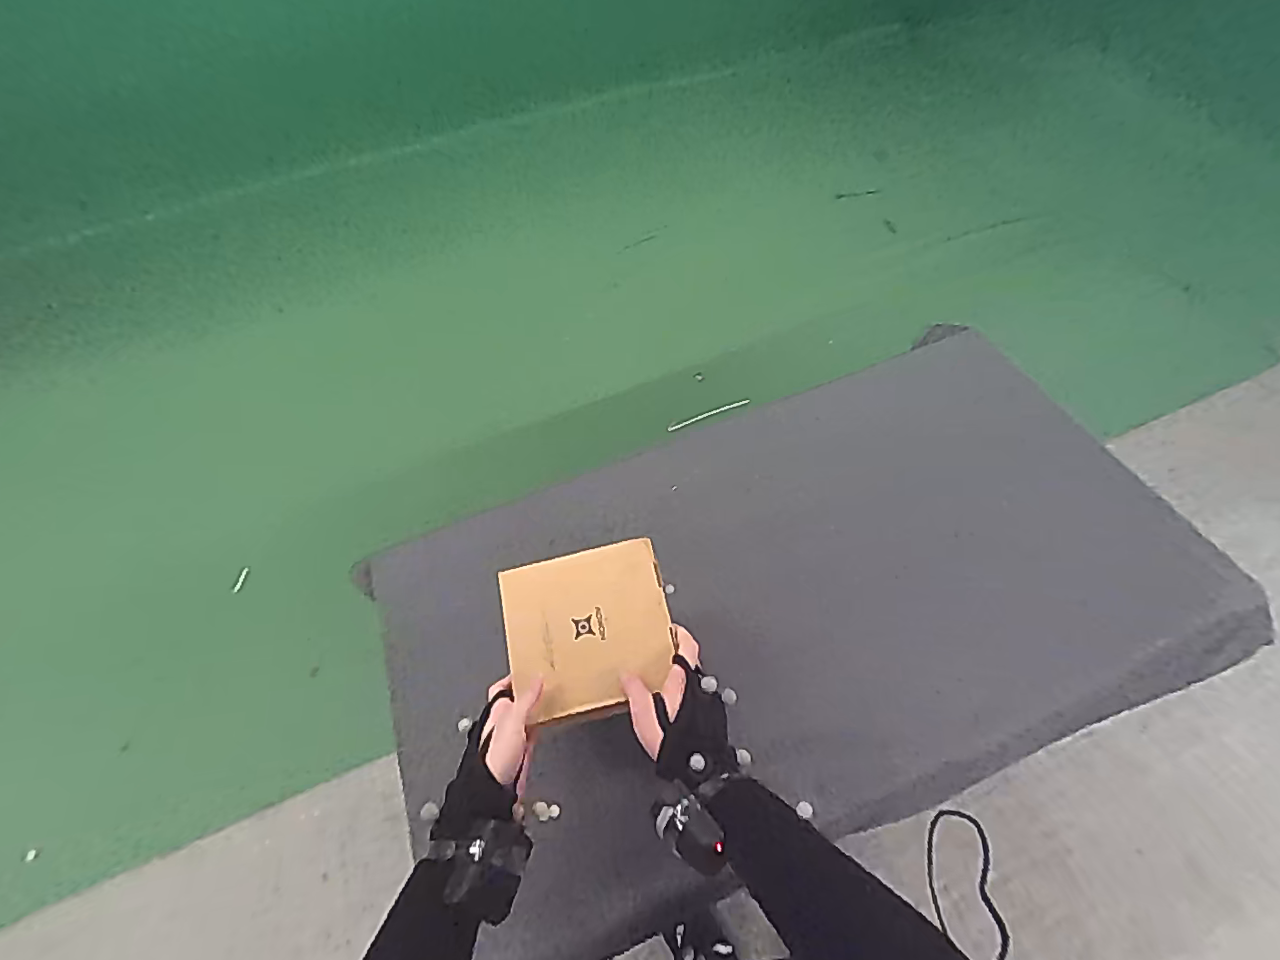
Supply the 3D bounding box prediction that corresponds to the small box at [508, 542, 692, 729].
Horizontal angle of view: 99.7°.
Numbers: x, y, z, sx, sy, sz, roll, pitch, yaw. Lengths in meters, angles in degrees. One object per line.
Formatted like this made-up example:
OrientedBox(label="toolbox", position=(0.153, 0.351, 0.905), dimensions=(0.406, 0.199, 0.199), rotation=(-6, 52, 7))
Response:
OrientedBox(label="small box", position=(-0.042, 0.189, 0.635), dimensions=(0.179, 0.176, 0.168), rotation=(-11, 63, -1))
